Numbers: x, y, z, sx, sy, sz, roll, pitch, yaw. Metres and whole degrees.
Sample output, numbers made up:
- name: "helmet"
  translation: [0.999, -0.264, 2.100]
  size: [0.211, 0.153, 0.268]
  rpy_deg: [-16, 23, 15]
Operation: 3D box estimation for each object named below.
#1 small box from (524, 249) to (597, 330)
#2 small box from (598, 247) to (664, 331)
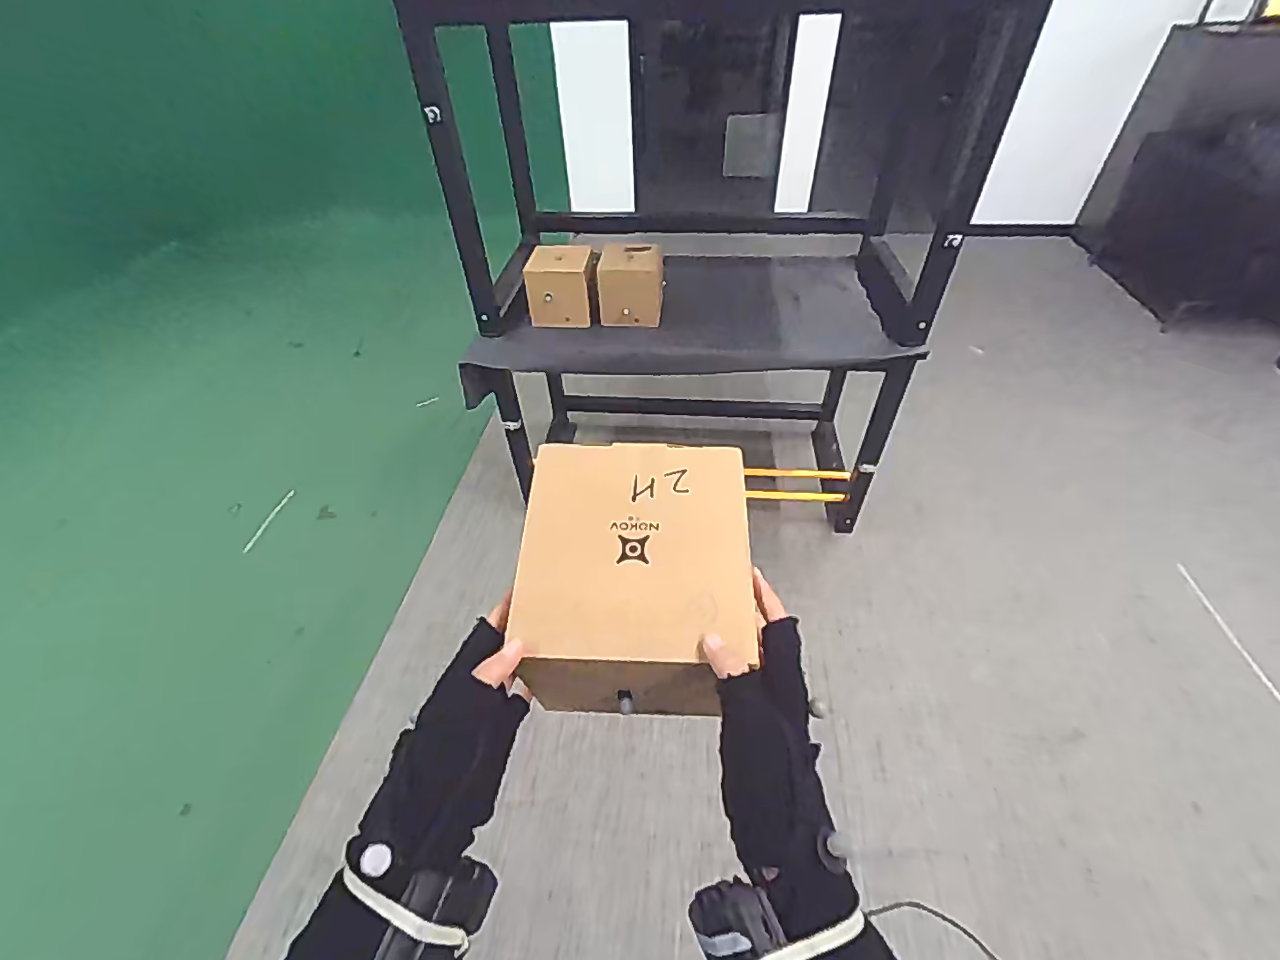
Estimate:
- name: "small box"
  translation: [-0.217, -0.541, 1.539]
  size: [0.168, 0.176, 0.179]
  rpy_deg: [2, 44, 4]
- name: "small box"
  translation: [-0.021, -0.542, 1.531]
  size: [0.168, 0.176, 0.179]
  rpy_deg: [2, 45, 6]
